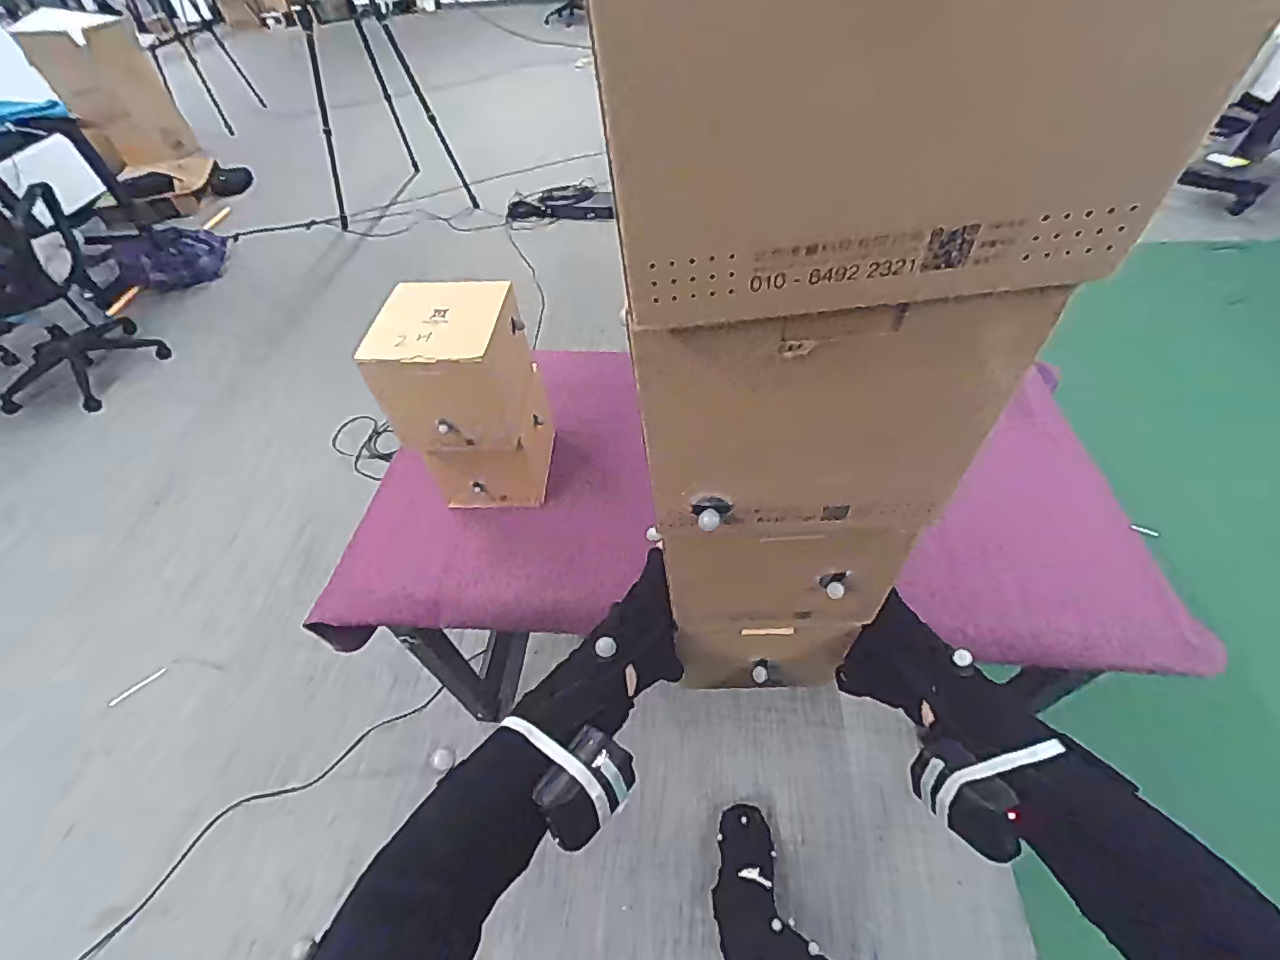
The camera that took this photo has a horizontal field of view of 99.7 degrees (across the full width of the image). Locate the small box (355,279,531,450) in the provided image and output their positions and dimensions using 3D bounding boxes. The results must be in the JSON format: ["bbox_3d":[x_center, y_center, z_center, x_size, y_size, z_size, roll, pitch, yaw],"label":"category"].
[{"bbox_3d":[-0.259,-0.162,0.765,0.168,0.176,0.179,0,52,4],"label":"small box"}]

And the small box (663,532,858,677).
[{"bbox_3d":[0.115,0.101,0.580,0.168,0.176,0.179,-7,52,4],"label":"small box"}]

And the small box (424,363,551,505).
[{"bbox_3d":[-0.248,-0.077,0.906,0.168,0.176,0.179,-1,52,3],"label":"small box"}]

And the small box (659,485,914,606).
[{"bbox_3d":[0.103,-0.008,0.435,0.168,0.176,0.179,-4,52,5],"label":"small box"}]

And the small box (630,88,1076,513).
[{"bbox_3d":[0.087,-0.091,0.314,0.168,0.176,0.179,-3,52,5],"label":"small box"}]
